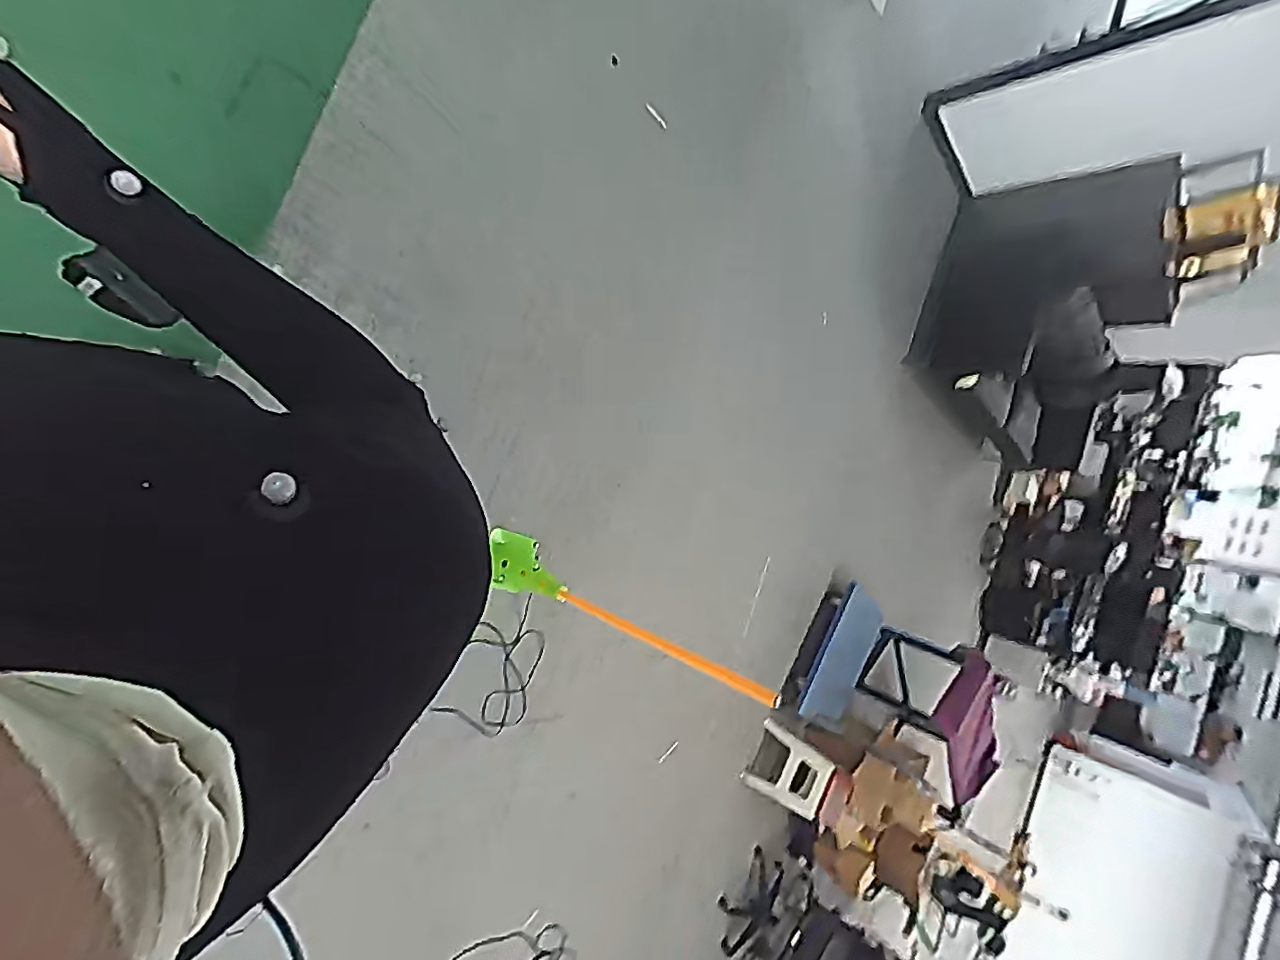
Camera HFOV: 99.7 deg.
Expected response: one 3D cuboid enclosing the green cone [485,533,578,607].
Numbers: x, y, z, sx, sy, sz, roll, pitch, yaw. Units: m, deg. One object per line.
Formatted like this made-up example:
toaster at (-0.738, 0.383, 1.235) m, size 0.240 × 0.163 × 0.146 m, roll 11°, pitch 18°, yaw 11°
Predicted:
green cone at (-0.316, 0.325, 1.753) m, size 0.200 × 0.368 × 0.202 m, roll 24°, pitch 84°, yaw -41°
